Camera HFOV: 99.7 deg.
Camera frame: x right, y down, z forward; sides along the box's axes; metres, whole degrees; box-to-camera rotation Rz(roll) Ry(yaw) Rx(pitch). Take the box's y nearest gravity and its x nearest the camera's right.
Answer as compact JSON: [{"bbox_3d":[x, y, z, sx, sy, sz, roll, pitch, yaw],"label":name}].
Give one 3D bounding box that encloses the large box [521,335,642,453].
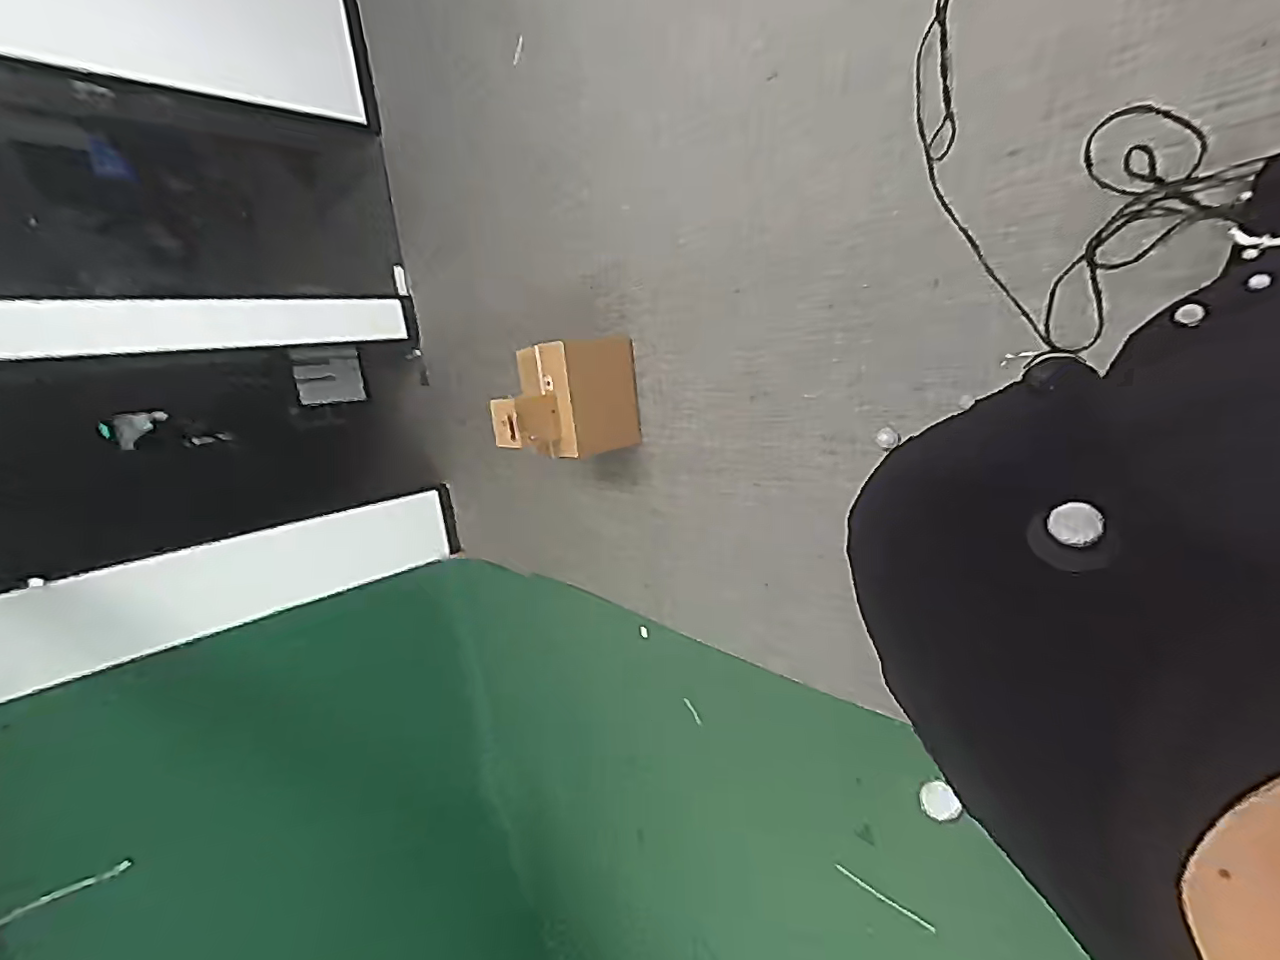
[{"bbox_3d":[-0.218,-0.322,2.048,0.320,0.320,0.408,6,106,47],"label":"large box"}]
